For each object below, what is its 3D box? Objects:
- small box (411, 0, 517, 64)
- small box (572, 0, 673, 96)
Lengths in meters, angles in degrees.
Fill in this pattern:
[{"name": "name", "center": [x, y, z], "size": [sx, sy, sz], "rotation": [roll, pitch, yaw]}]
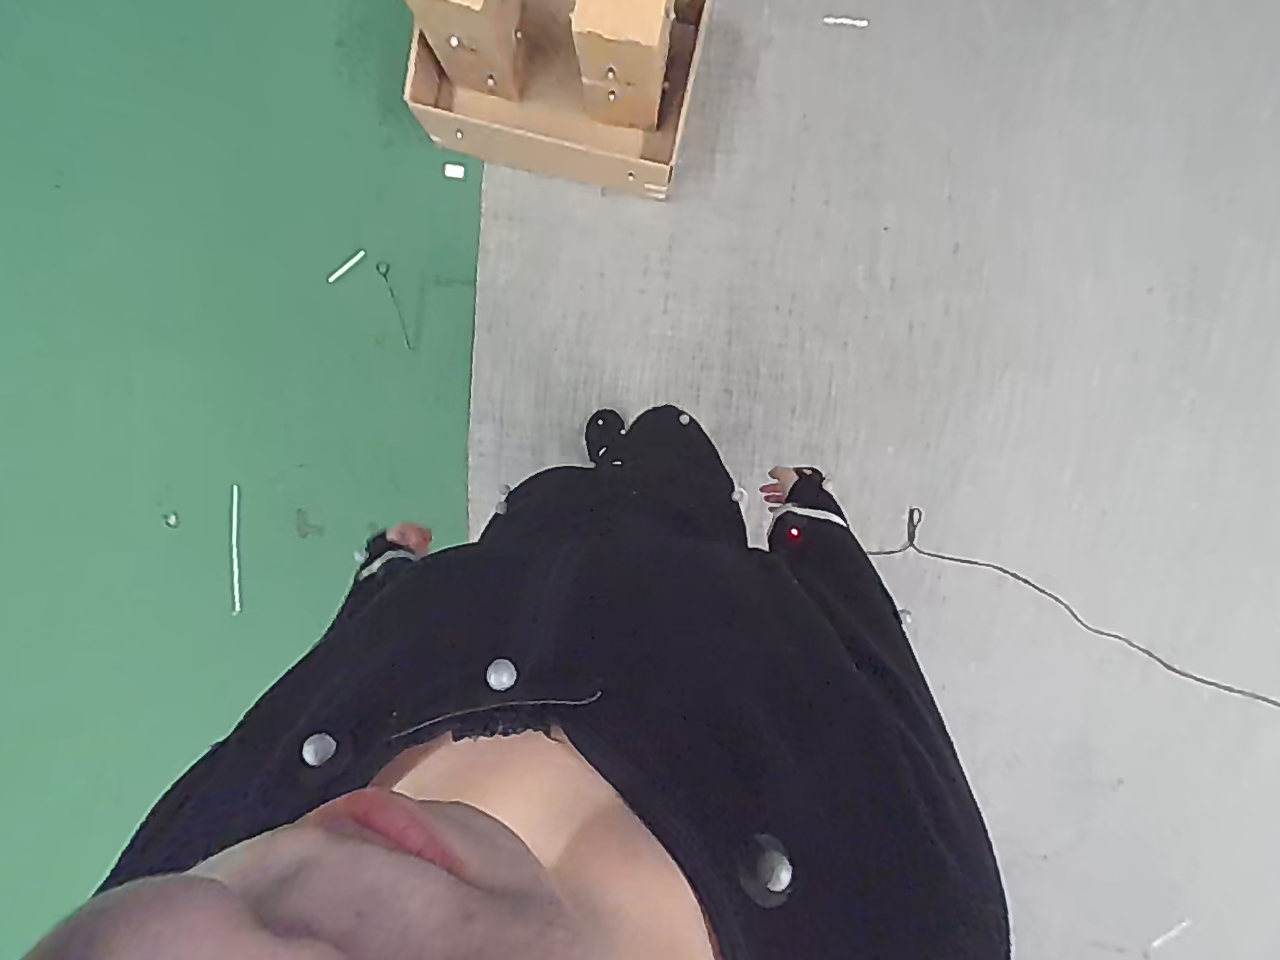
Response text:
[{"name": "small box", "center": [-0.346, -0.975, 1.056], "size": [0.168, 0.176, 0.179], "rotation": [16, 99, -3]}, {"name": "small box", "center": [-0.028, -0.908, 1.063], "size": [0.168, 0.176, 0.179], "rotation": [12, 99, -1]}]
